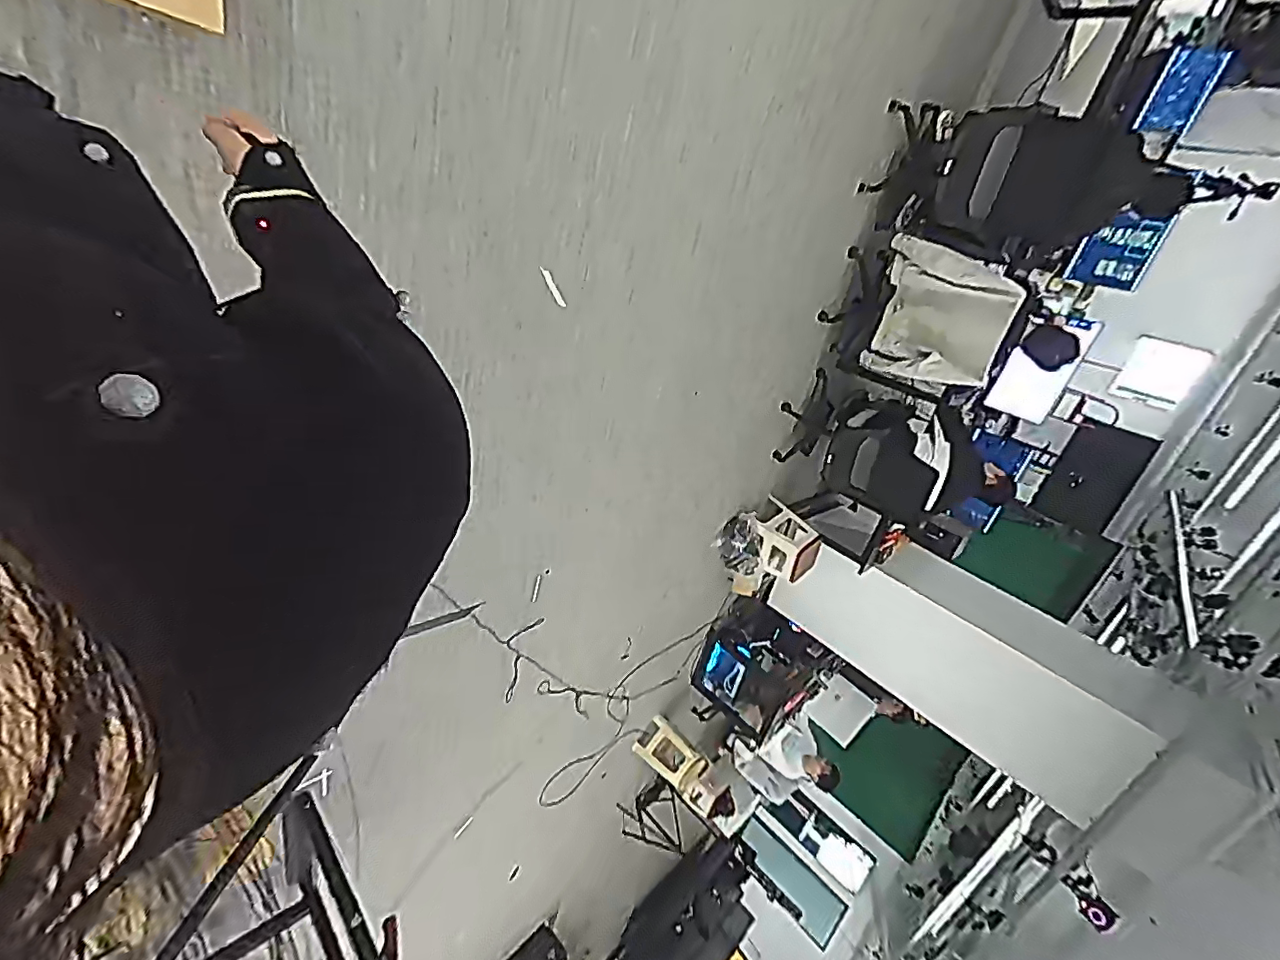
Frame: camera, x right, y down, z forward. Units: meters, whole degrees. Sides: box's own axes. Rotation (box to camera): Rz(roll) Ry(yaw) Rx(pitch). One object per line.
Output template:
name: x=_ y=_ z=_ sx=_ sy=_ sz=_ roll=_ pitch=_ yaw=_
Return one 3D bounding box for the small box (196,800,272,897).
small box: x=-1.365 y=1.227 z=1.816 sx=0.179 sy=0.176 sz=0.168 roll=-7 pitch=122 yaw=-46

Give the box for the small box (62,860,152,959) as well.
small box: x=-1.576 y=1.287 z=1.602 sx=0.168 sy=0.176 sz=0.179 roll=-13 pitch=126 yaw=-46
